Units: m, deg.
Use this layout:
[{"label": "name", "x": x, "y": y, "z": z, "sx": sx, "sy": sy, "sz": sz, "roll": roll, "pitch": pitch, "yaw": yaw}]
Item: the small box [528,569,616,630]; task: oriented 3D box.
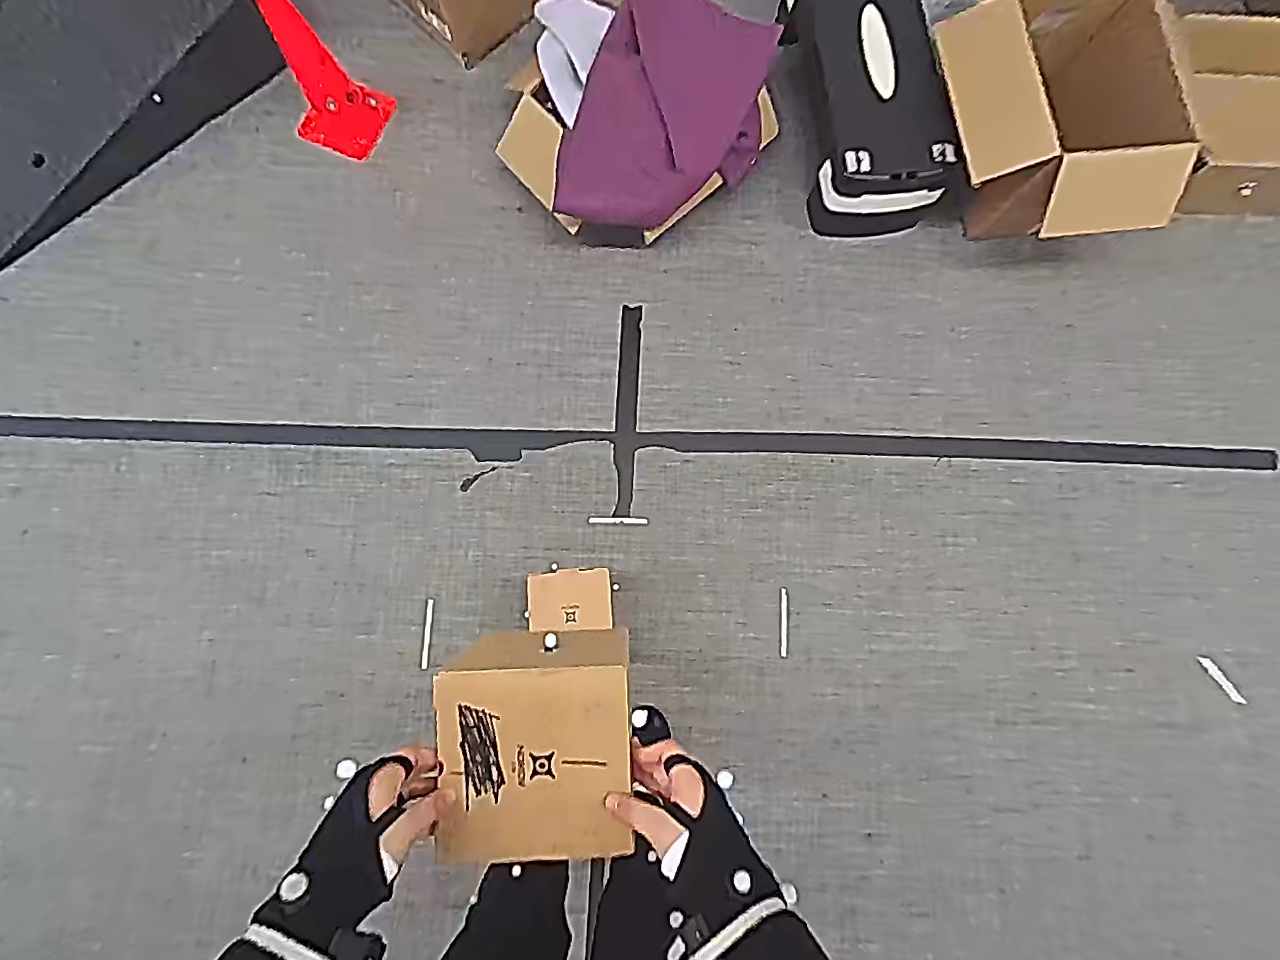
[{"label": "small box", "x": -0.137, "y": 0.280, "z": 1.135, "sx": 0.168, "sy": 0.176, "sz": 0.179, "roll": -5, "pitch": 82, "yaw": -1}]

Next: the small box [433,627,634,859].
[{"label": "small box", "x": -0.096, "y": 0.254, "z": 0.560, "sx": 0.179, "sy": 0.176, "sz": 0.168, "roll": -3, "pitch": 87, "yaw": -1}]
